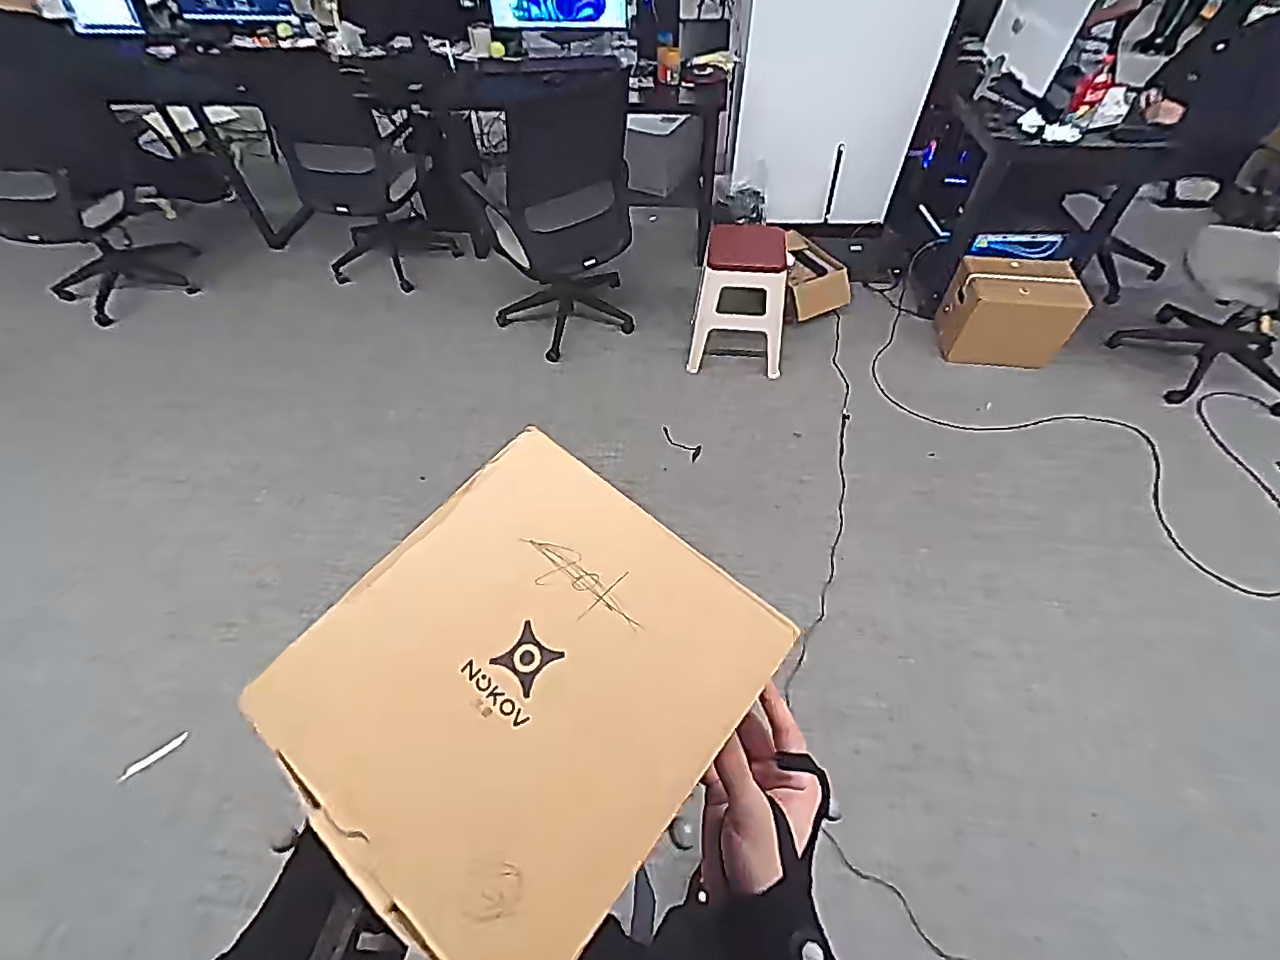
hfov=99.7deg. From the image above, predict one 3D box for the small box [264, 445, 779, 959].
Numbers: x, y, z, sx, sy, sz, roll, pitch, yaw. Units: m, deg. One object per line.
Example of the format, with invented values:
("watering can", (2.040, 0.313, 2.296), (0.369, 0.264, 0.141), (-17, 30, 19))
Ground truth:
("small box", (-0.048, 0.121, 0.311), (0.168, 0.176, 0.179), (35, 69, 17))
